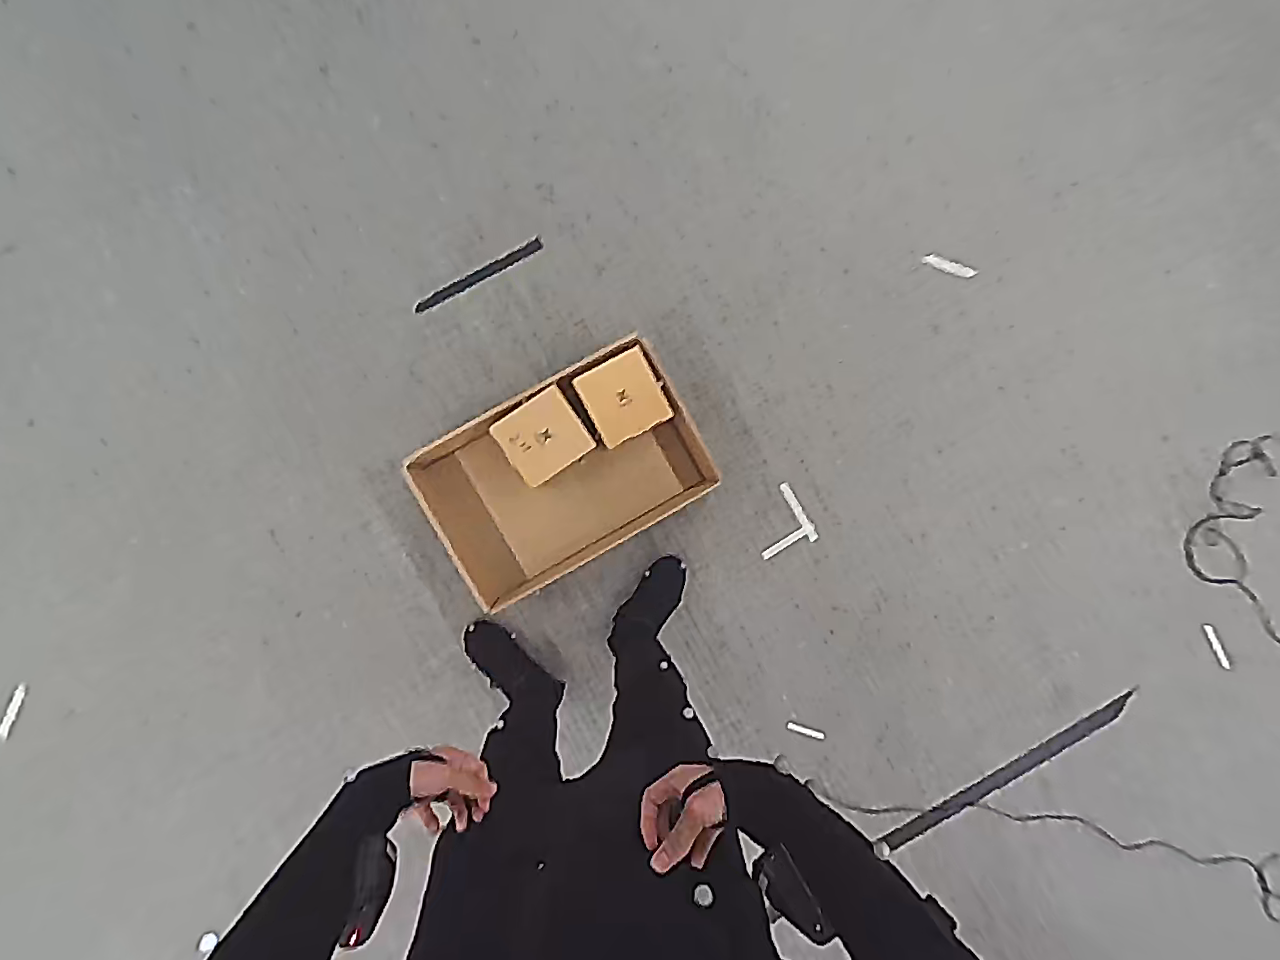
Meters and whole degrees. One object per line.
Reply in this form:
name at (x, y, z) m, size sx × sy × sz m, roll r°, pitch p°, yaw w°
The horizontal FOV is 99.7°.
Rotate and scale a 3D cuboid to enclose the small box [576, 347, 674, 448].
small box at (-0.040, -0.185, 1.271) m, size 0.168 × 0.176 × 0.179 m, roll -29°, pitch 95°, yaw -3°
